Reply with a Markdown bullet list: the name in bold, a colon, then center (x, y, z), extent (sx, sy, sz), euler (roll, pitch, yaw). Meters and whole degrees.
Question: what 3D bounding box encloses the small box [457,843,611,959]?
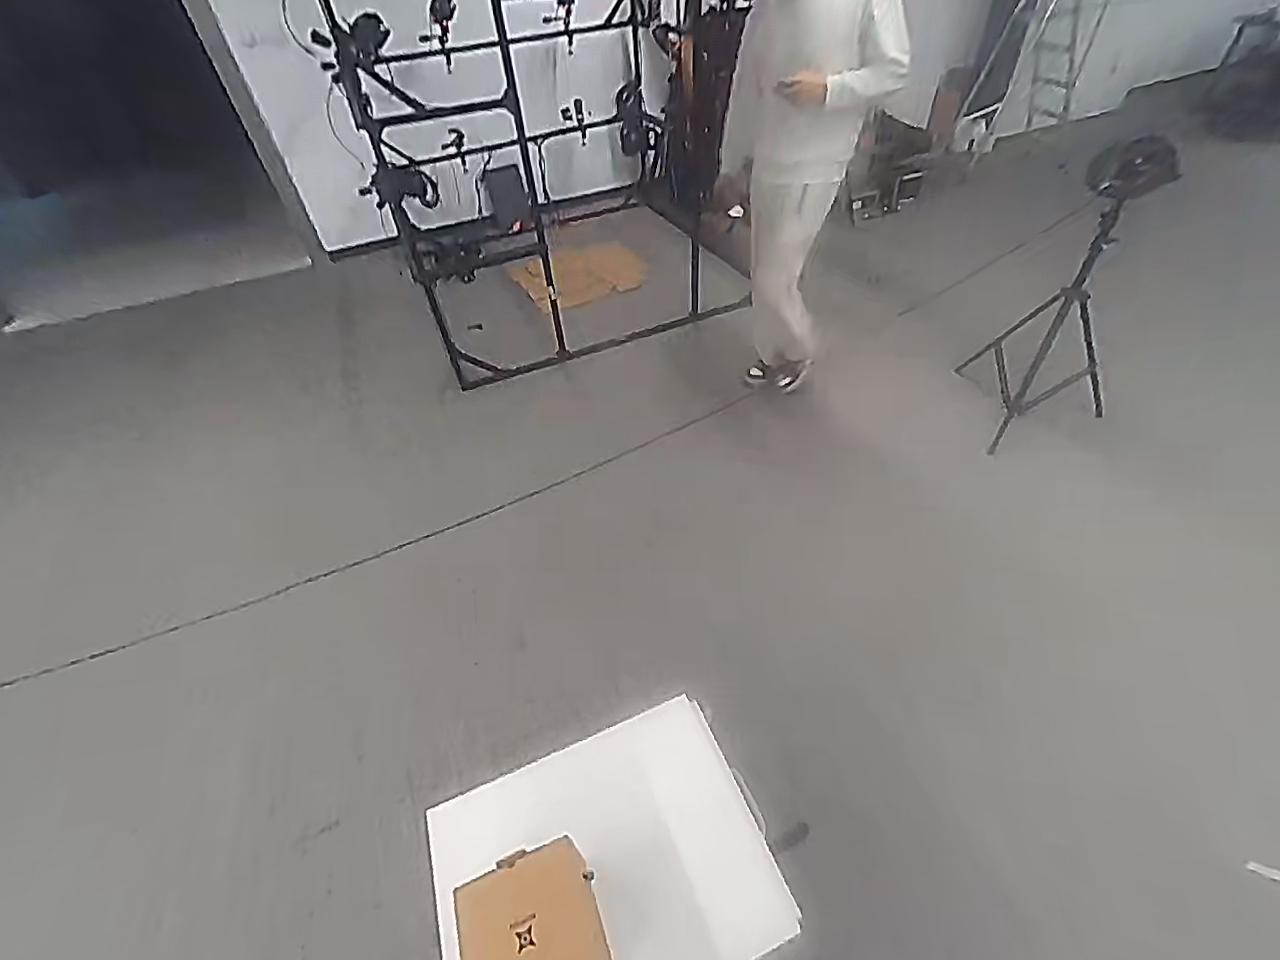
- **small box**: center (-0.136, 0.647, 0.741), extent (0.168, 0.176, 0.179), euler (-19, 45, -12)
